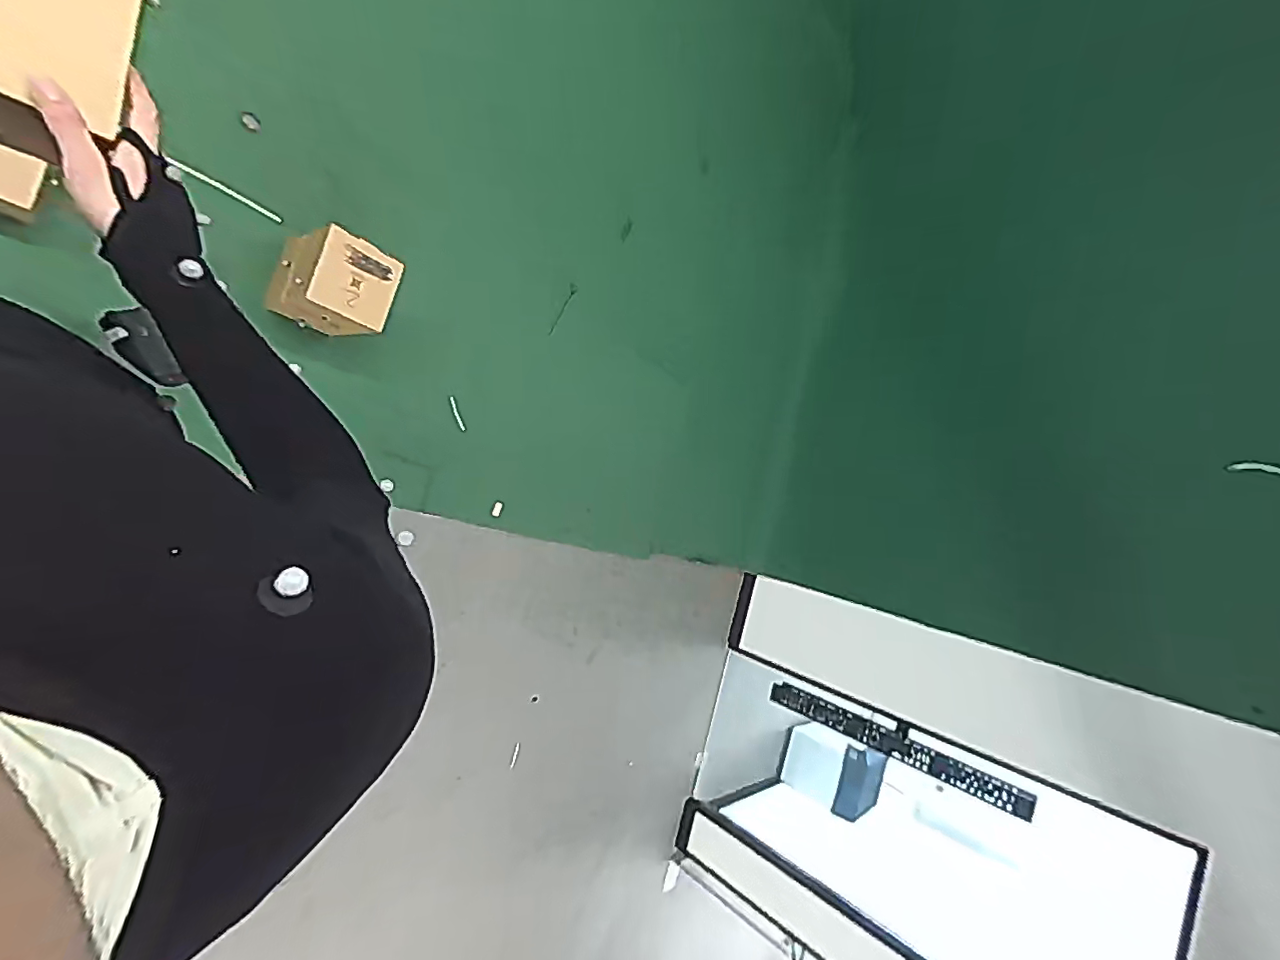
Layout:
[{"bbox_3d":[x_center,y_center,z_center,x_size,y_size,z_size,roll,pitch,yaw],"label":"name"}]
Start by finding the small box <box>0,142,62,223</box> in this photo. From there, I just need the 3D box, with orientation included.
[{"bbox_3d":[-1.159,-0.590,0.960,0.168,0.176,0.179,19,86,-47],"label":"small box"}]

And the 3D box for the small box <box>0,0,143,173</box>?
[{"bbox_3d":[-0.510,-0.372,0.416,0.168,0.176,0.179,9,92,-51],"label":"small box"}]

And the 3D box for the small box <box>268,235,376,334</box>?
[{"bbox_3d":[-0.805,-0.484,1.364,0.168,0.176,0.179,23,82,-47],"label":"small box"}]
